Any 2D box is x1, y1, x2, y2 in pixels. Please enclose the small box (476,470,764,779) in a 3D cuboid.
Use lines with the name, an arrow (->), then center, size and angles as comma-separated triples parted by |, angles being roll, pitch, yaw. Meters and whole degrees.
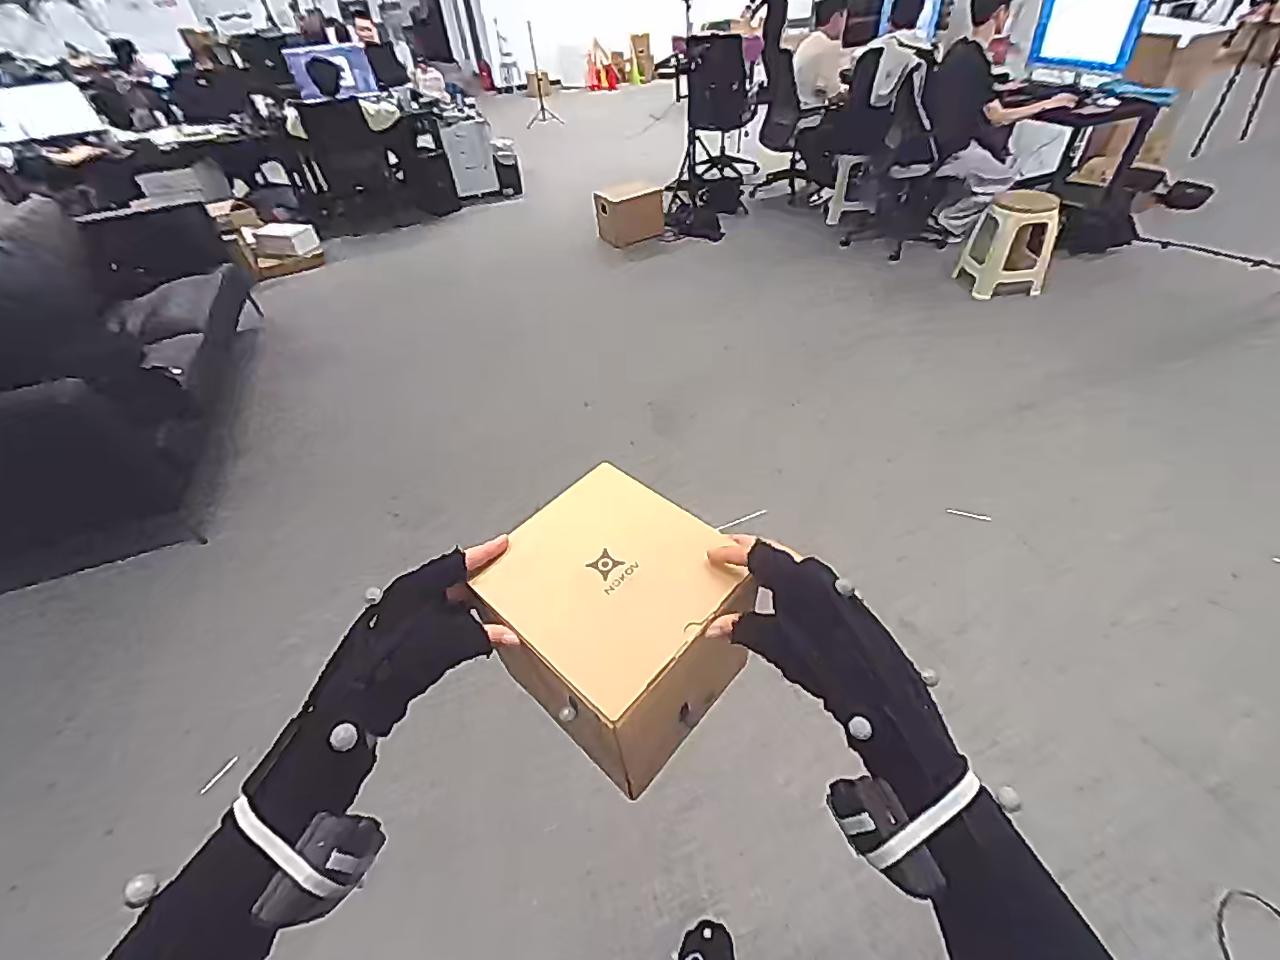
small box -> -0.014, 0.128, 0.487 | 0.179, 0.176, 0.168 | 32, 56, 30
